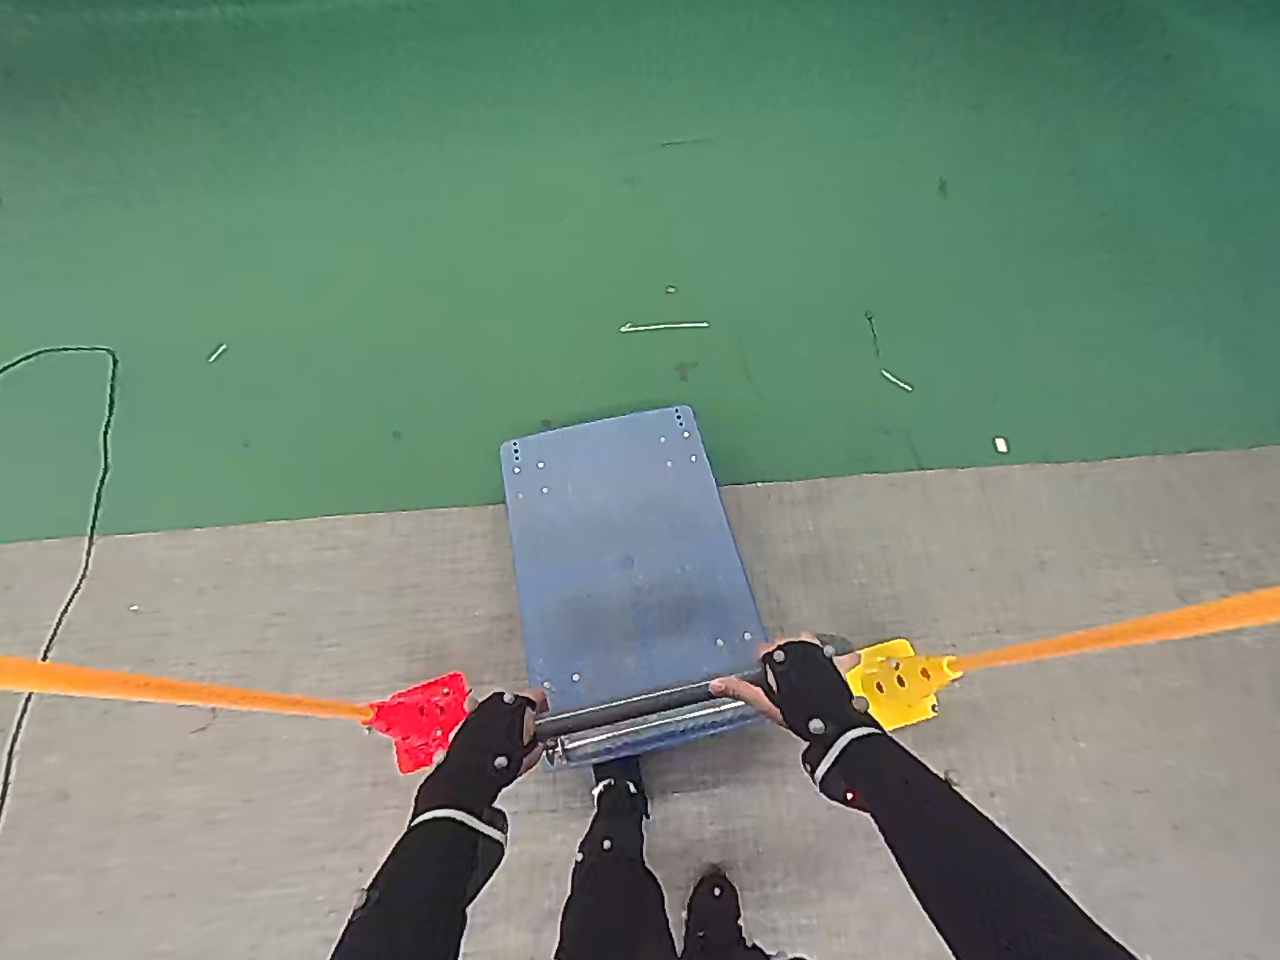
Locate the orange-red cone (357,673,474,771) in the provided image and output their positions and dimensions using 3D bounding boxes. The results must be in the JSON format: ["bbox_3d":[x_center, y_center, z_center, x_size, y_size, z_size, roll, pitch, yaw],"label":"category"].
[{"bbox_3d":[-0.541,0.542,1.232,0.199,0.360,0.198,-18,64,-6],"label":"orange-red cone"}]
